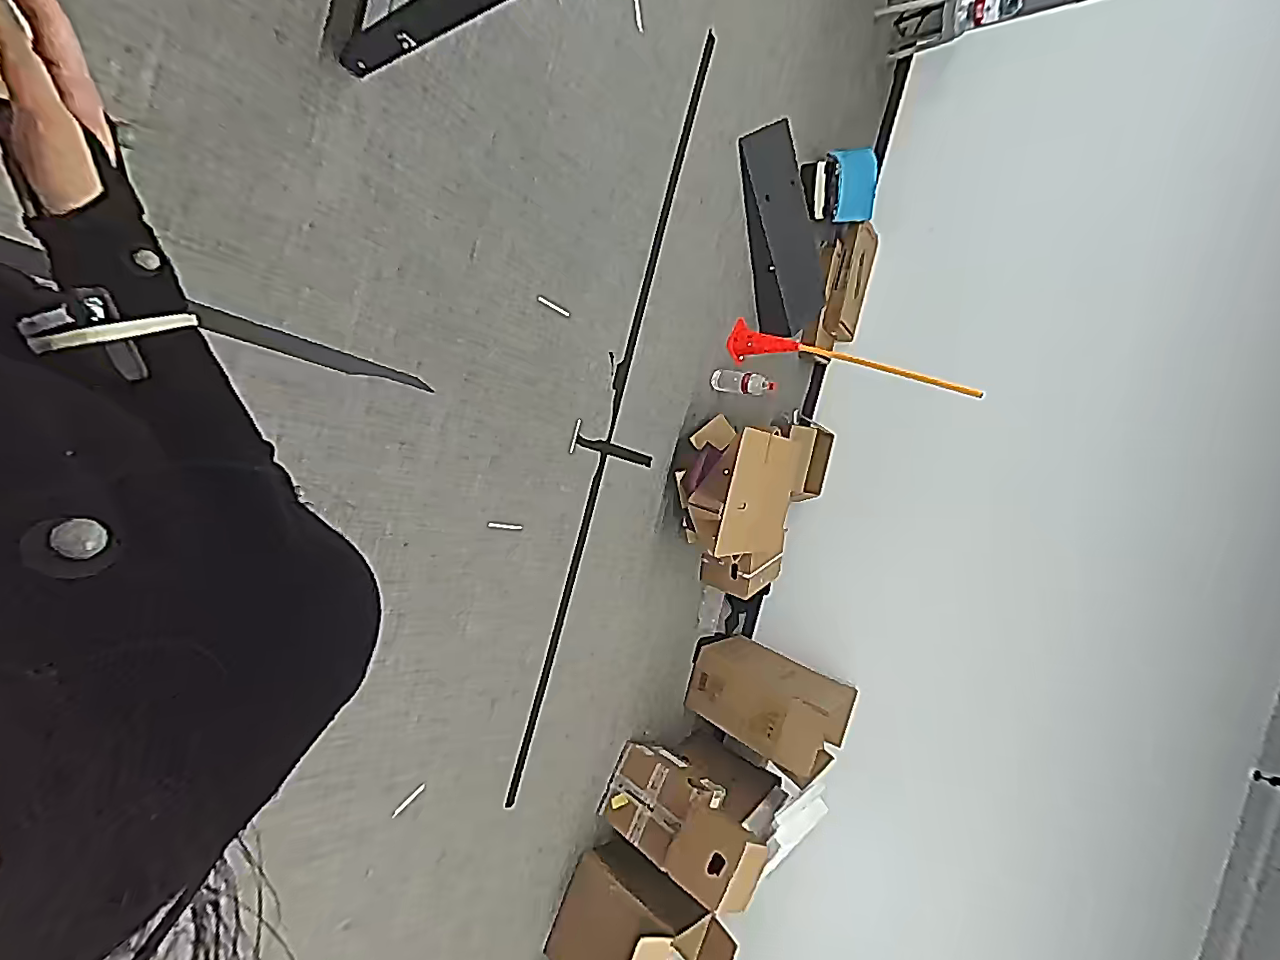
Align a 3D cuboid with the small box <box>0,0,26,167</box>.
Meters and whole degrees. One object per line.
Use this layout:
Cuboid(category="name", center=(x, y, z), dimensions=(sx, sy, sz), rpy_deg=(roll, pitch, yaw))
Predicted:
Cuboid(category="small box", center=(-0.399, -0.248, 0.228), dimensions=(0.168, 0.176, 0.179), rpy_deg=(-2, 86, -55))
